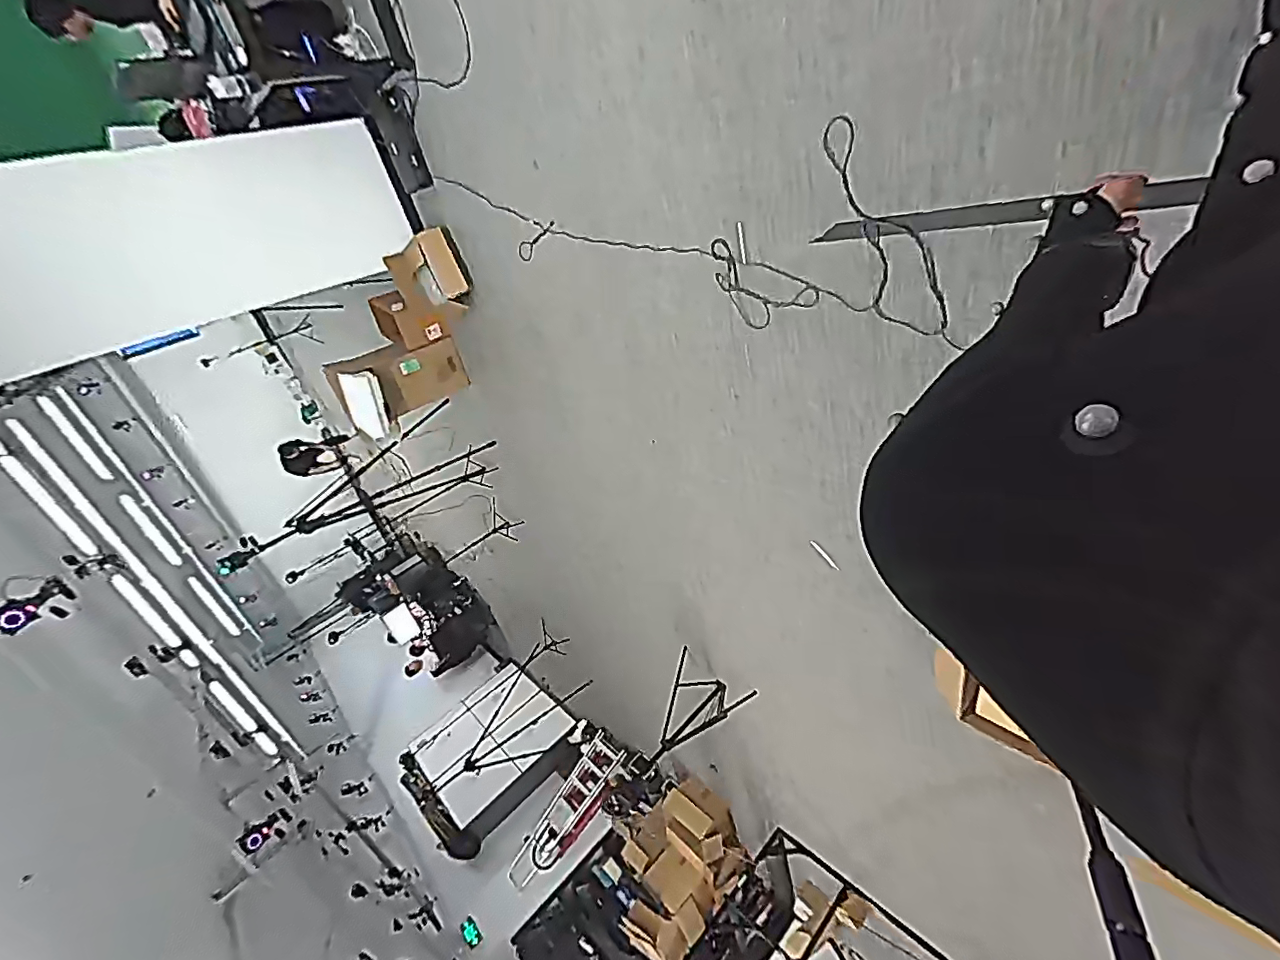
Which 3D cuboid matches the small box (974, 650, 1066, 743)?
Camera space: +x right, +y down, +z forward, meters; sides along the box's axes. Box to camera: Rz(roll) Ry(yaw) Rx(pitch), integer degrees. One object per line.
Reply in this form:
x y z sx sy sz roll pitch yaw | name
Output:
1.159 0.651 1.654 0.179 0.176 0.168 21 133 45 | small box
